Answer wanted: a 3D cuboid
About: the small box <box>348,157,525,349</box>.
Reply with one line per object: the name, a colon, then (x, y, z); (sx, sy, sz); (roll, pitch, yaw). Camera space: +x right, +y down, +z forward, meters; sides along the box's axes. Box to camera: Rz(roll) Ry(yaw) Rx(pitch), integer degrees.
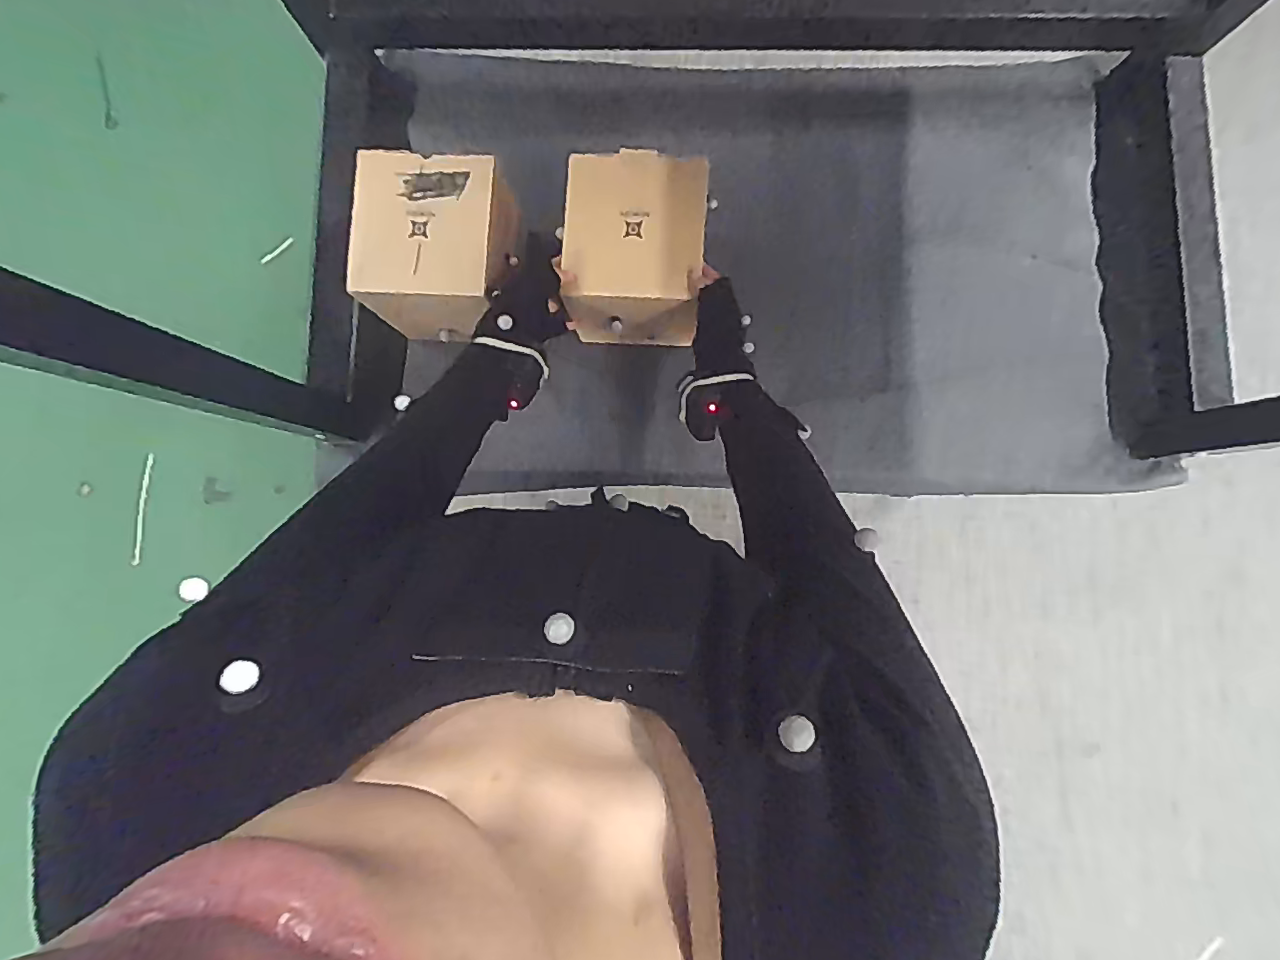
small box: (-0.255, -0.290, 0.719); (0.168, 0.176, 0.179); (3, 85, 1)
